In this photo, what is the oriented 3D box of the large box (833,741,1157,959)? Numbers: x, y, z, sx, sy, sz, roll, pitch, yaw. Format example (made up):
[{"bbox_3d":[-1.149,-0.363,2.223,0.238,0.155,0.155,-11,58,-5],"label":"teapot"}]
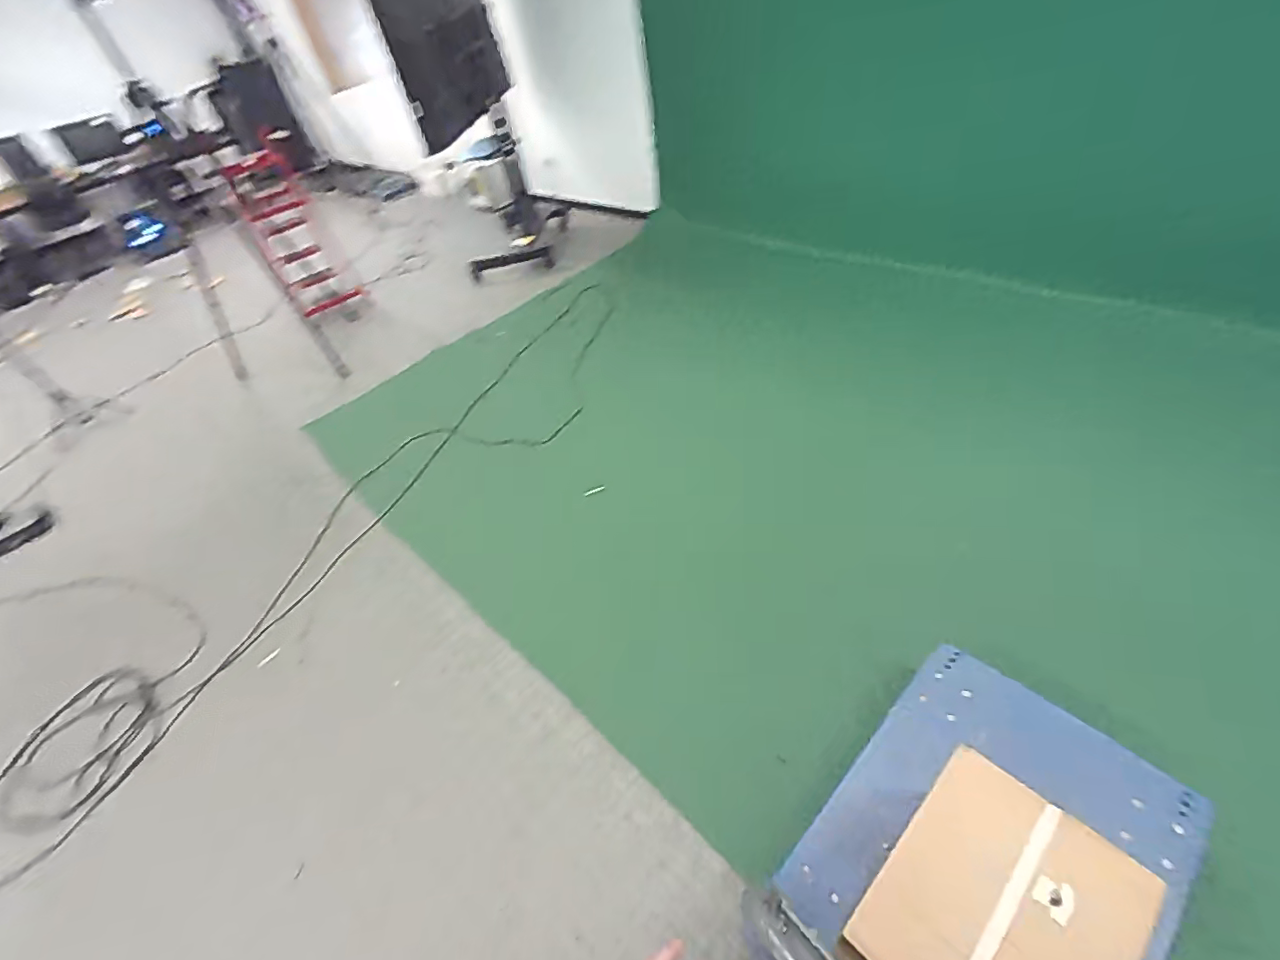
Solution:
[{"bbox_3d":[0.591,0.775,0.954,0.408,0.320,0.320,-37,49,-24],"label":"large box"}]
